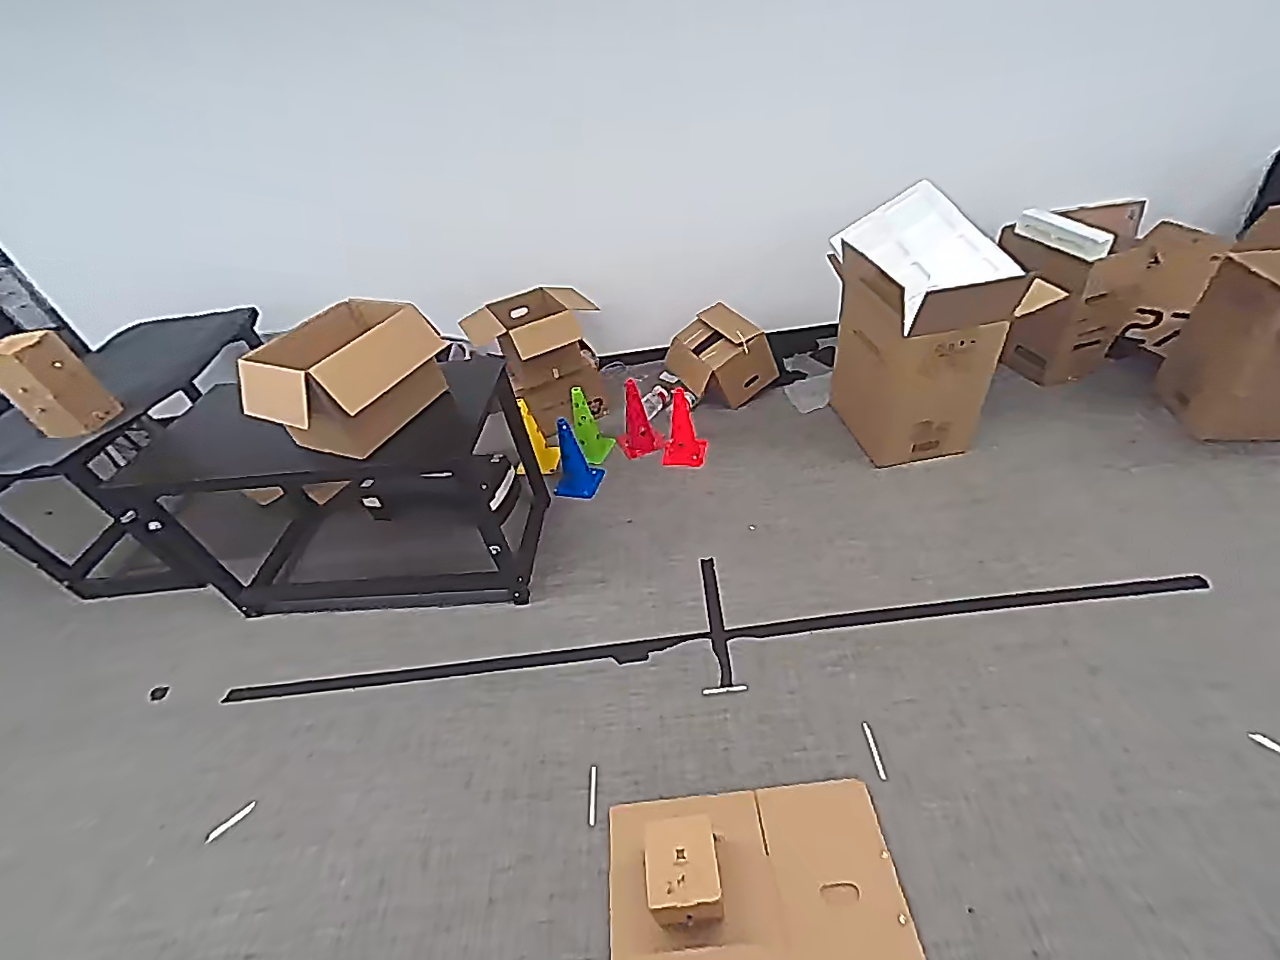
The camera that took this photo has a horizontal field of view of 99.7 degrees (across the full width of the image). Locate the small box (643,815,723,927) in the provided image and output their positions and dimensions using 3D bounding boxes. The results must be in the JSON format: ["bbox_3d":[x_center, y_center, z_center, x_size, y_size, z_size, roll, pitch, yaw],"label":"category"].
[{"bbox_3d":[0.101,0.929,1.284,0.168,0.176,0.179,-9,41,3],"label":"small box"}]
